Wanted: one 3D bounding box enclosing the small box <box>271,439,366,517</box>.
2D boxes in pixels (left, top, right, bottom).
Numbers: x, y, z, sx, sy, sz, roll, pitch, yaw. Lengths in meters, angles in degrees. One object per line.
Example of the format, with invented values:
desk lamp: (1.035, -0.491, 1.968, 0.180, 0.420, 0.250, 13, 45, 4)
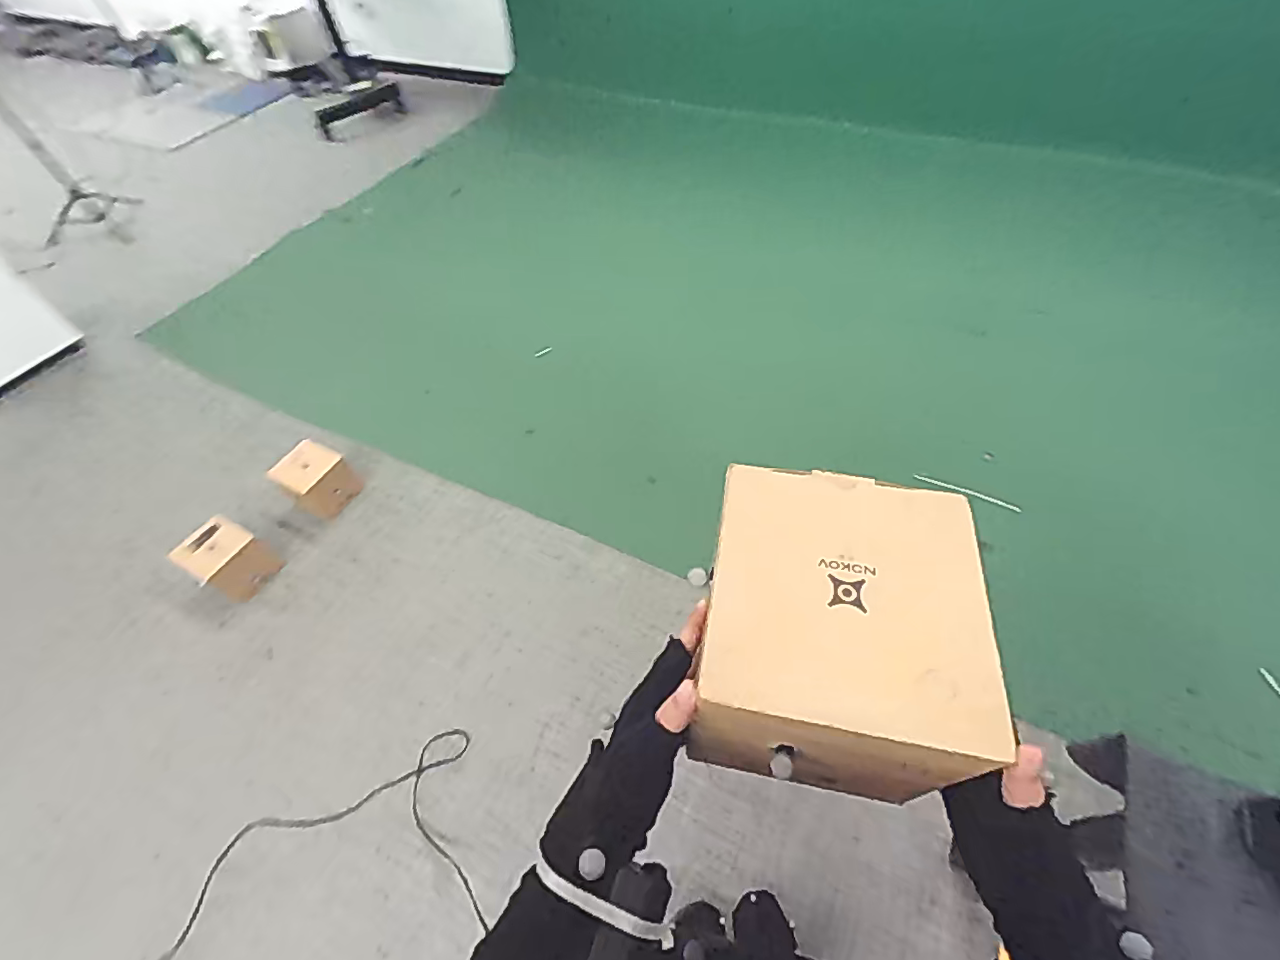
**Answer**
small box: (-1.046, -0.001, 1.778, 0.179, 0.176, 0.168, 21, 57, 18)
